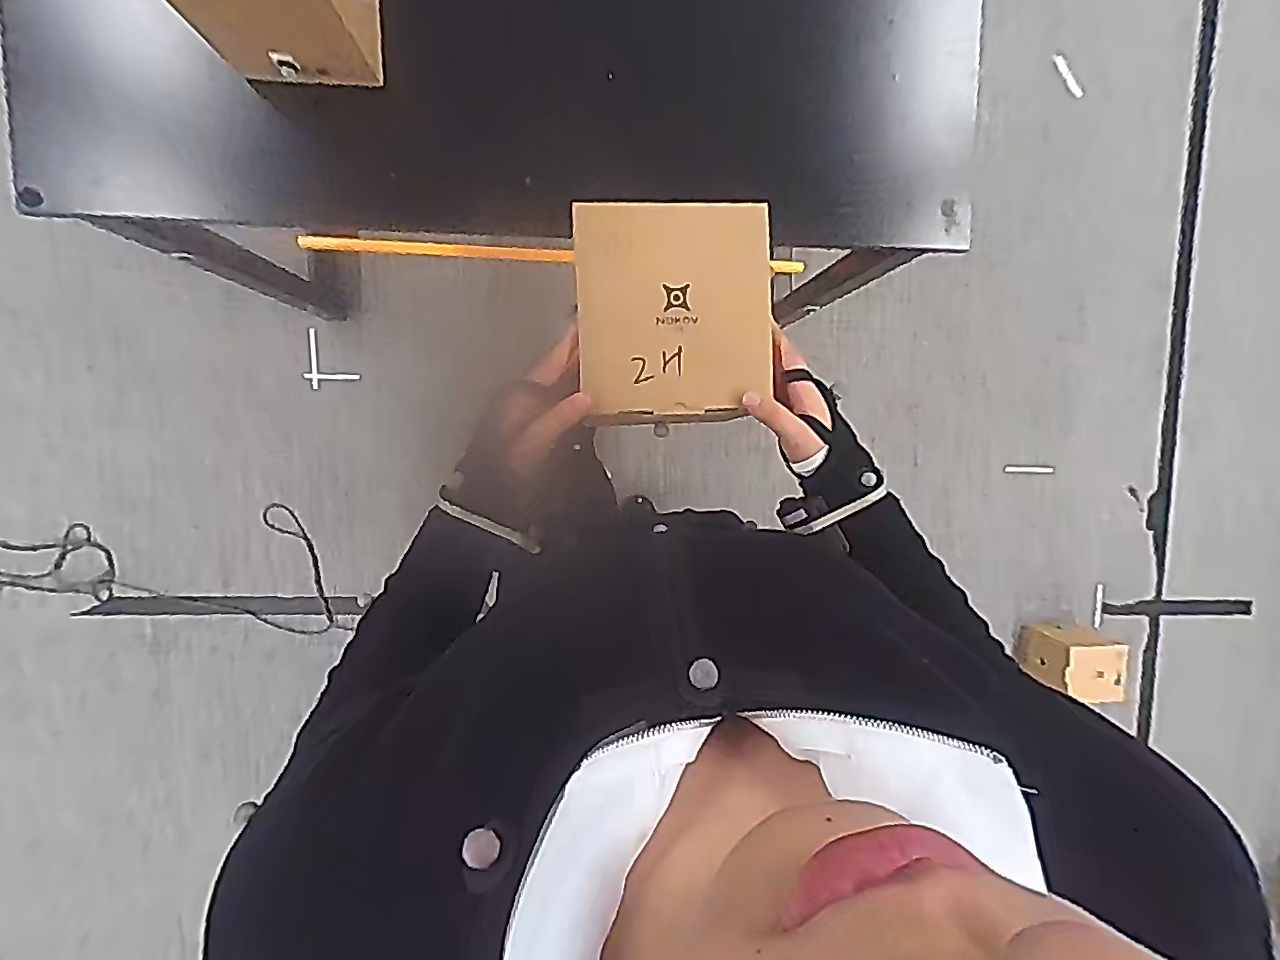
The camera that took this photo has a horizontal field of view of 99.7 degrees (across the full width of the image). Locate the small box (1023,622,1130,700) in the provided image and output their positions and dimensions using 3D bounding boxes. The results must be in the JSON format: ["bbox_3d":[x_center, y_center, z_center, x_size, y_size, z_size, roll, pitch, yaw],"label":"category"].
[{"bbox_3d":[1.252,0.518,1.564,0.179,0.176,0.168,0,95,-4],"label":"small box"}]

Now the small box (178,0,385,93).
[{"bbox_3d":[-0.391,-0.561,0.579,0.168,0.176,0.179,-2,96,-4],"label":"small box"}]

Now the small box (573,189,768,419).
[{"bbox_3d":[0.019,-0.157,0.532,0.168,0.176,0.179,-2,92,-4],"label":"small box"}]
